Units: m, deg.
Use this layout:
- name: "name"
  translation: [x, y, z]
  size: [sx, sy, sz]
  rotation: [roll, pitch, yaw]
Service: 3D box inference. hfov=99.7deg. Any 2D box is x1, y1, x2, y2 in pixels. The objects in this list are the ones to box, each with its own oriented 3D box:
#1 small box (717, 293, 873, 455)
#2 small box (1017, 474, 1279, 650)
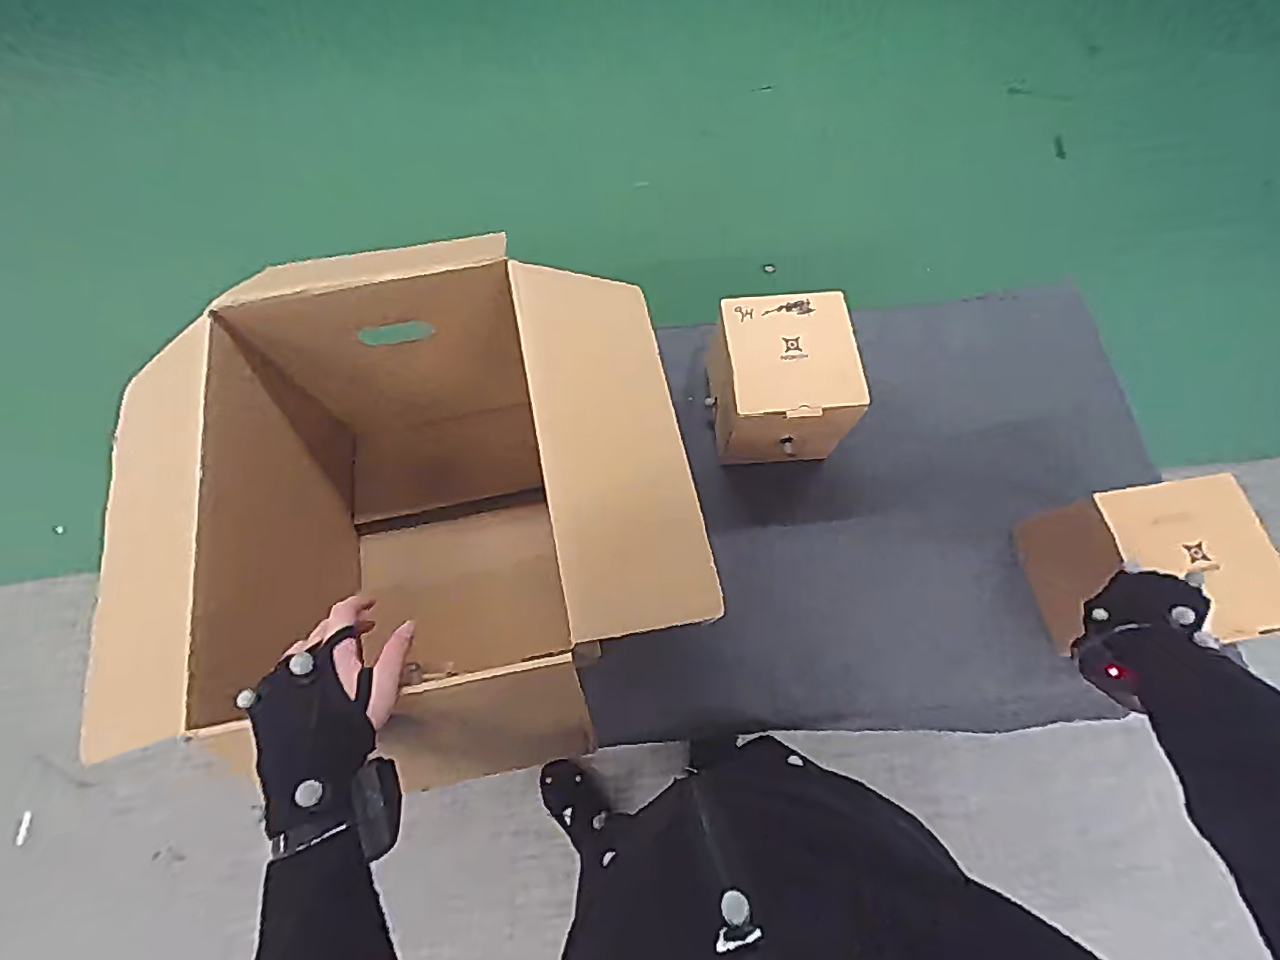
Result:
- name: "small box"
  translation: [0.208, -0.140, 0.775]
  size: [0.168, 0.176, 0.179]
  rotation: [-3, 71, -1]
- name: "small box"
  translation: [0.623, 0.111, 0.673]
  size: [0.168, 0.176, 0.179]
  rotation: [-9, 69, -1]
